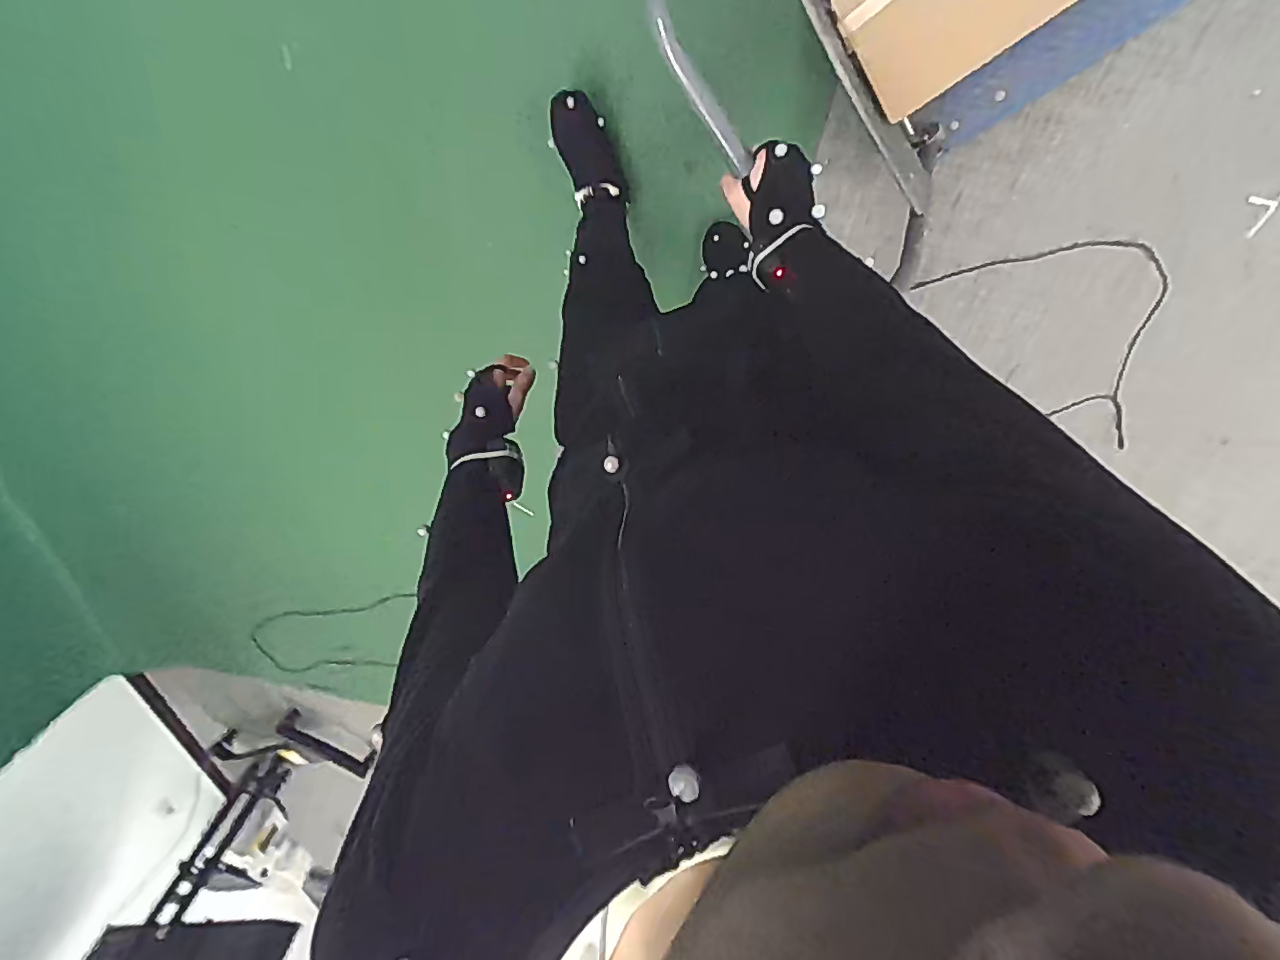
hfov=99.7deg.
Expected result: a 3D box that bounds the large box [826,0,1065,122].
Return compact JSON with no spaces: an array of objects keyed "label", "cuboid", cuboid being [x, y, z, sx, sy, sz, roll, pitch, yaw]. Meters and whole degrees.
[{"label":"large box","cuboid":[0.480,-0.816,0.756,0.408,0.320,0.320,-21,123,41]}]
